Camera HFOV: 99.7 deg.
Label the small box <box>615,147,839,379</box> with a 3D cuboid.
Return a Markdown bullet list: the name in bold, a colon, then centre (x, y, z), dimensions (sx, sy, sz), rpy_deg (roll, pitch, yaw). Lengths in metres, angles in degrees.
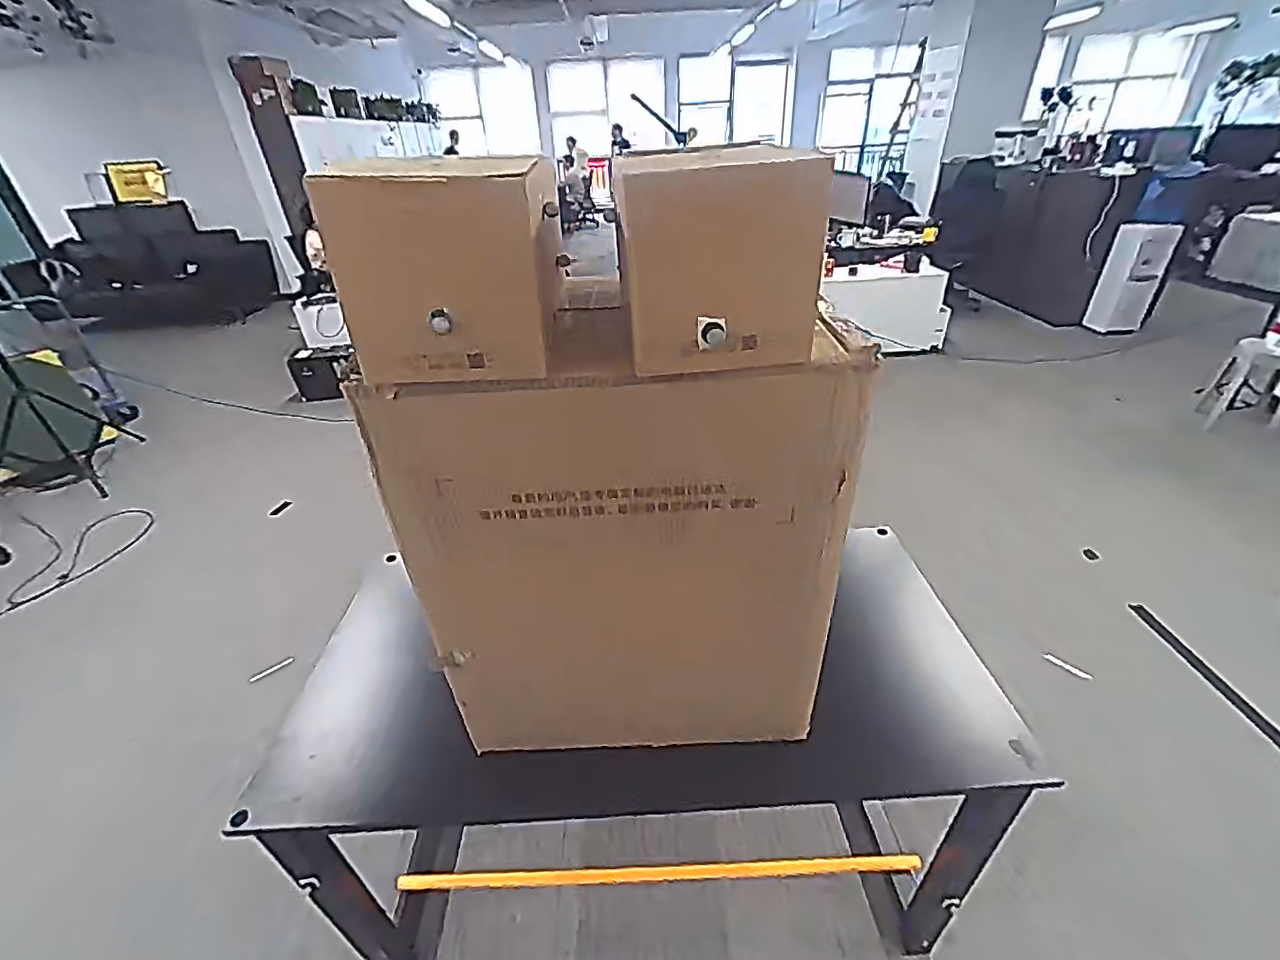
- **small box**: centre (0.068, -0.211, 0.518), dimensions (0.168, 0.176, 0.179), rpy_deg (-7, 35, -2)
